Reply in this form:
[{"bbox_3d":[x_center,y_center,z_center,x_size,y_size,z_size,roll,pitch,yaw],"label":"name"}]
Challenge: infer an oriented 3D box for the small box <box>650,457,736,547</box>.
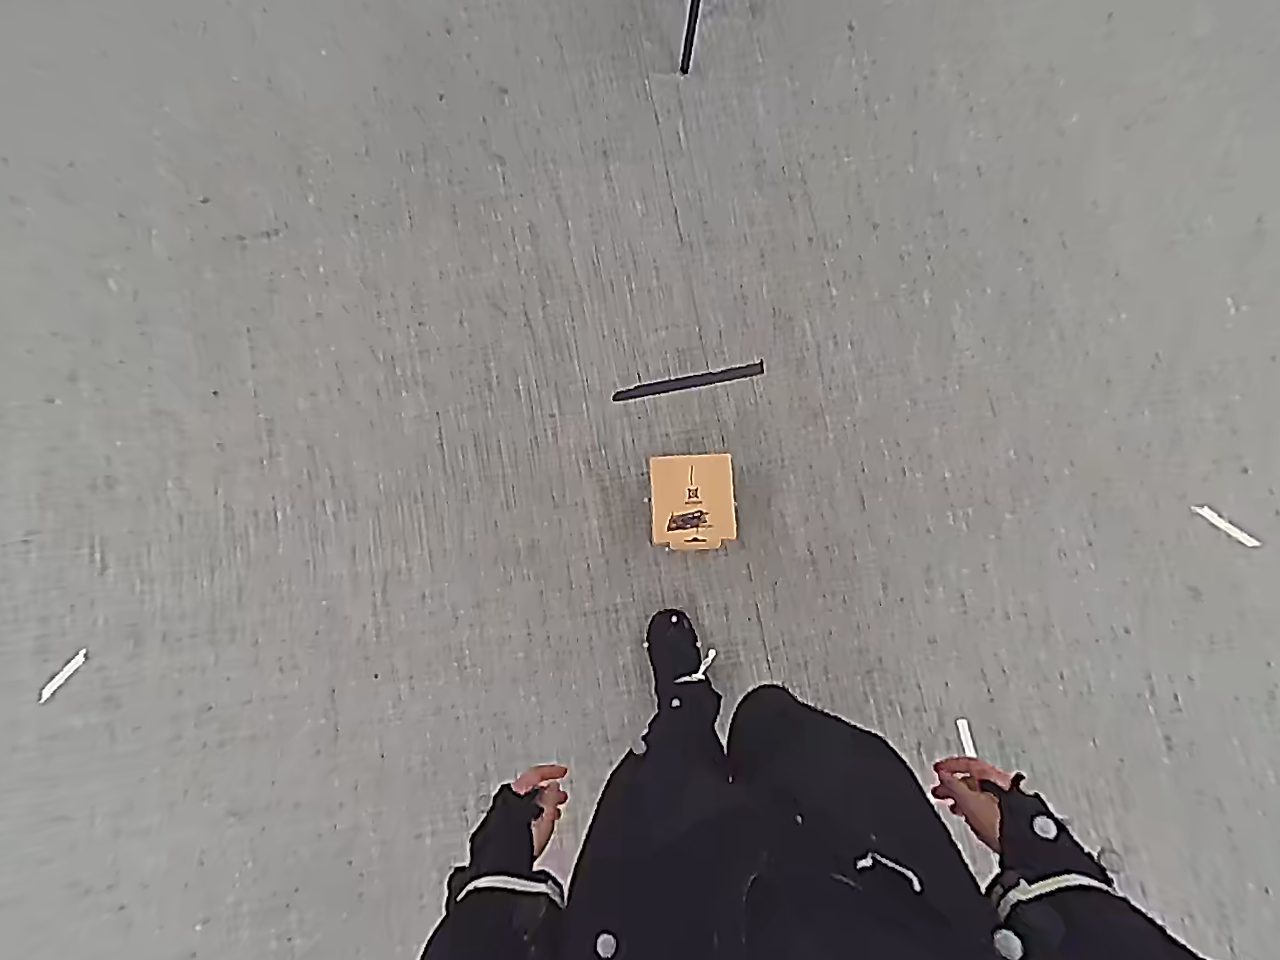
[{"bbox_3d":[0.107,0.053,1.150,0.168,0.176,0.179,-3,81,0],"label":"small box"}]
